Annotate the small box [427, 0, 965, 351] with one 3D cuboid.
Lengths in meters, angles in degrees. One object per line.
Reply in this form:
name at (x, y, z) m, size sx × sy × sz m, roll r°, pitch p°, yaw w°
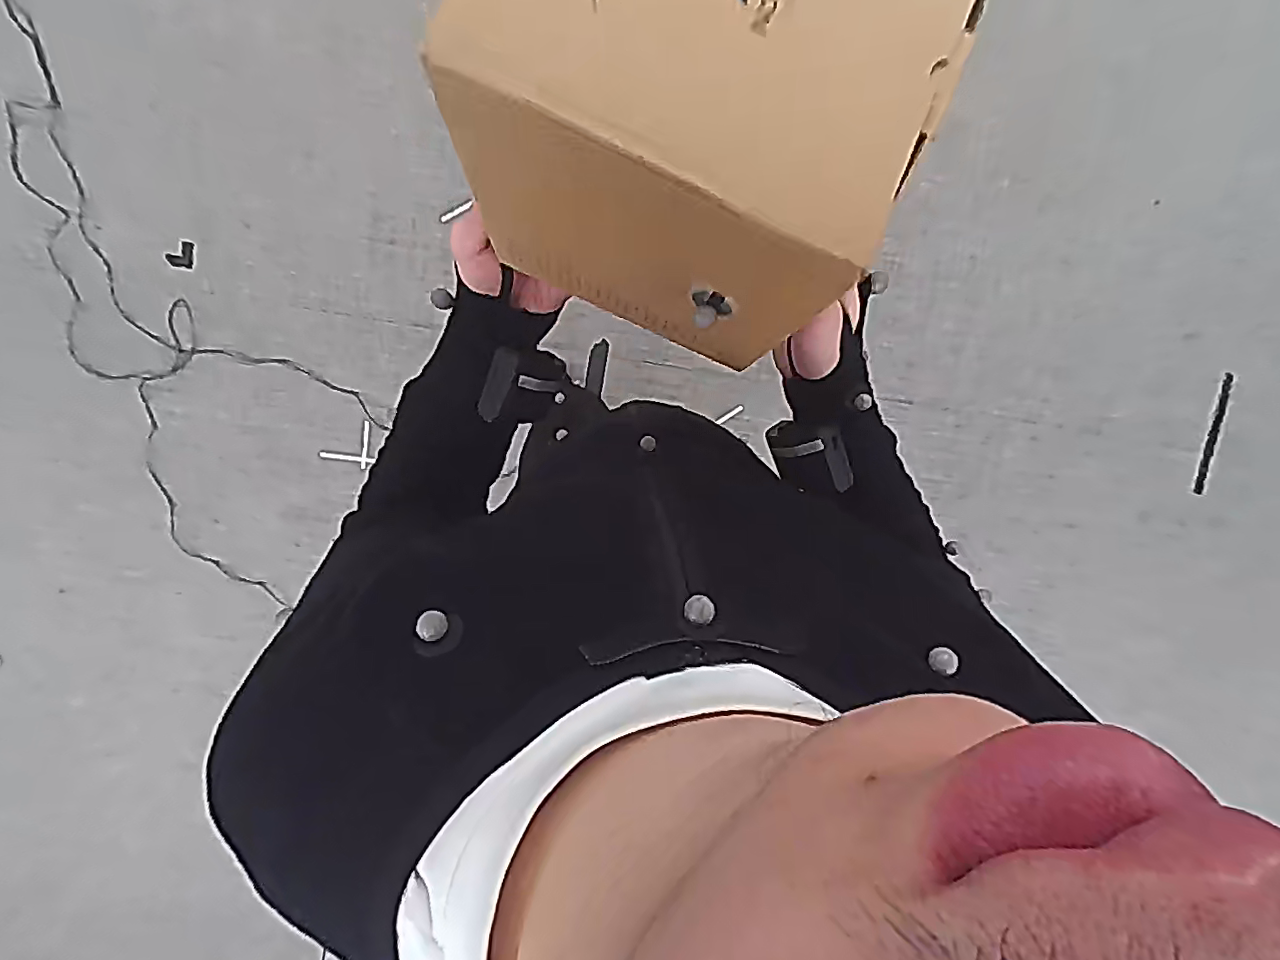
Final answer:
small box at (0.025, -0.185, 0.286) m, size 0.179 × 0.176 × 0.168 m, roll 23°, pitch 87°, yaw -5°
